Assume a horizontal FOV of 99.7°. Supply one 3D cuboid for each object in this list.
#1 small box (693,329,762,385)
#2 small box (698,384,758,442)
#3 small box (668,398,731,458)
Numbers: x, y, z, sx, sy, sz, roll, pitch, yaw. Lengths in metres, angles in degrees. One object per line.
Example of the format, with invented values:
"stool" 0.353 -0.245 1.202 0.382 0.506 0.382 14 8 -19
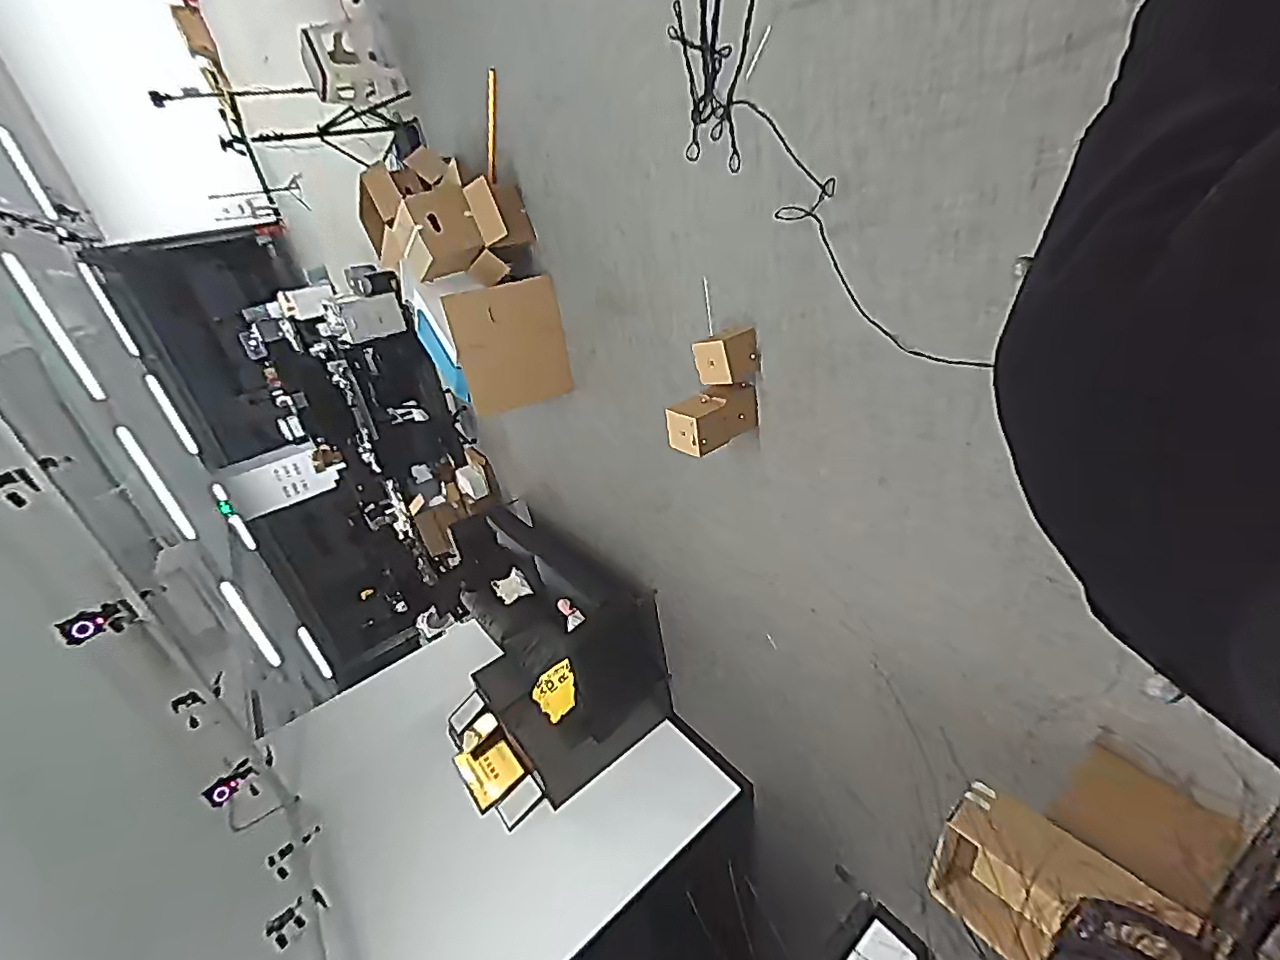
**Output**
"small box" 0.335 -0.467 2.061 0.179 0.176 0.168 12 125 54
"small box" 0.358 -0.281 2.177 0.168 0.176 0.179 26 135 48
"small box" 0.232 -0.209 2.101 0.179 0.176 0.168 27 136 48
